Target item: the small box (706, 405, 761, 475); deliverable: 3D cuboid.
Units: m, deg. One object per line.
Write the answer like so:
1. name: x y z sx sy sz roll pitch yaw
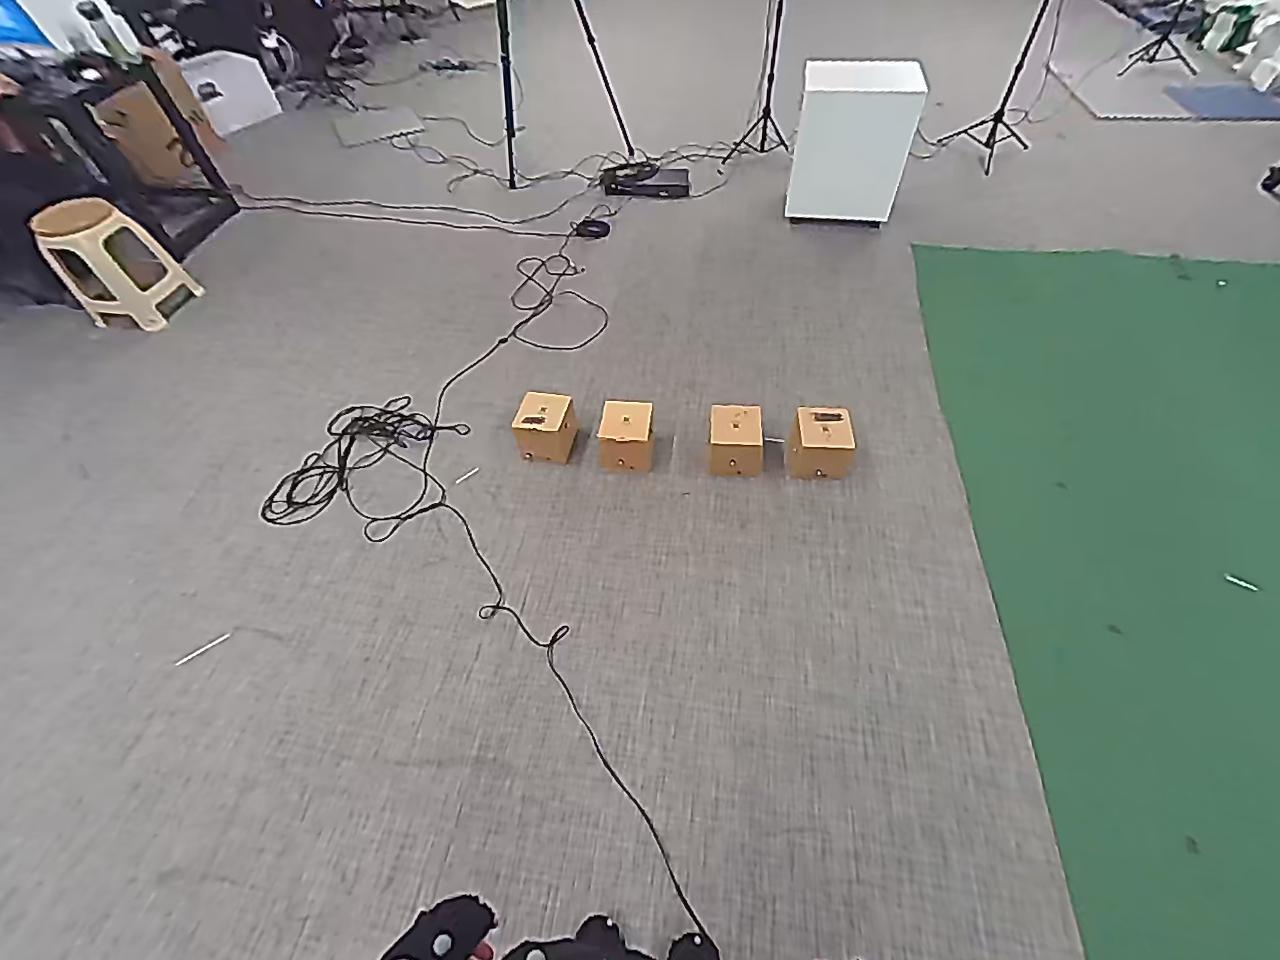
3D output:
1. small box: 0.315 -0.134 1.836 0.168 0.176 0.179 3 53 4

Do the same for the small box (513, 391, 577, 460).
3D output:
1. small box: -0.328 -0.190 1.912 0.168 0.176 0.179 8 53 9

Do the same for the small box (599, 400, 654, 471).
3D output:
1. small box: -0.042 -0.154 1.871 0.168 0.176 0.179 4 54 6
